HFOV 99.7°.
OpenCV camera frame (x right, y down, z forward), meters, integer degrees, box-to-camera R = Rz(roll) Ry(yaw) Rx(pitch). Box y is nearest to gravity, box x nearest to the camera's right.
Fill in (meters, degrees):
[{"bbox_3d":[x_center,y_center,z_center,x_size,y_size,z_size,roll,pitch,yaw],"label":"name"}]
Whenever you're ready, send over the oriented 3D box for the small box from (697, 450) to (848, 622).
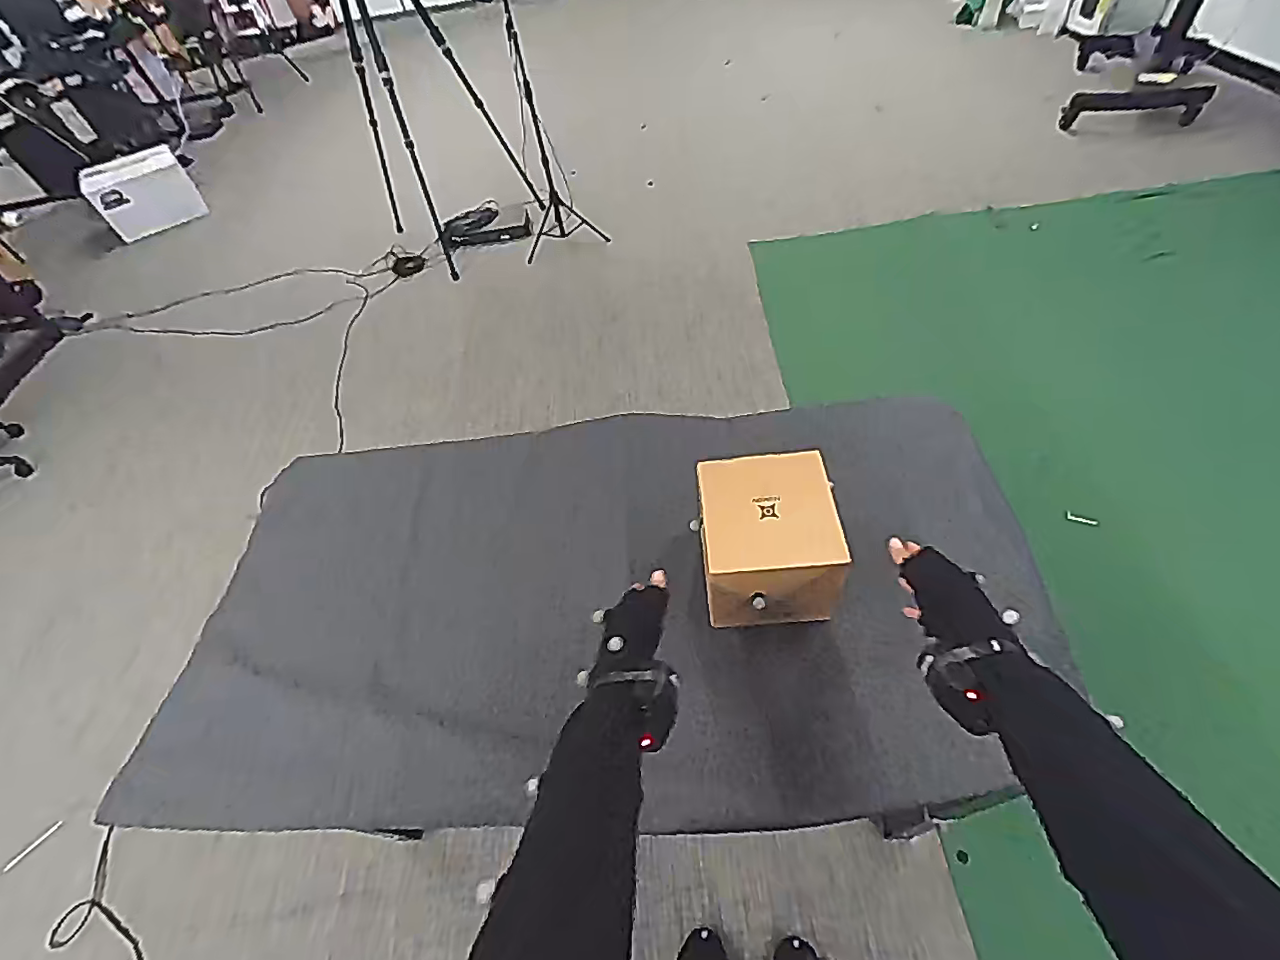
[{"bbox_3d":[0.172,0.084,0.740,0.168,0.176,0.179,-6,51,6],"label":"small box"}]
